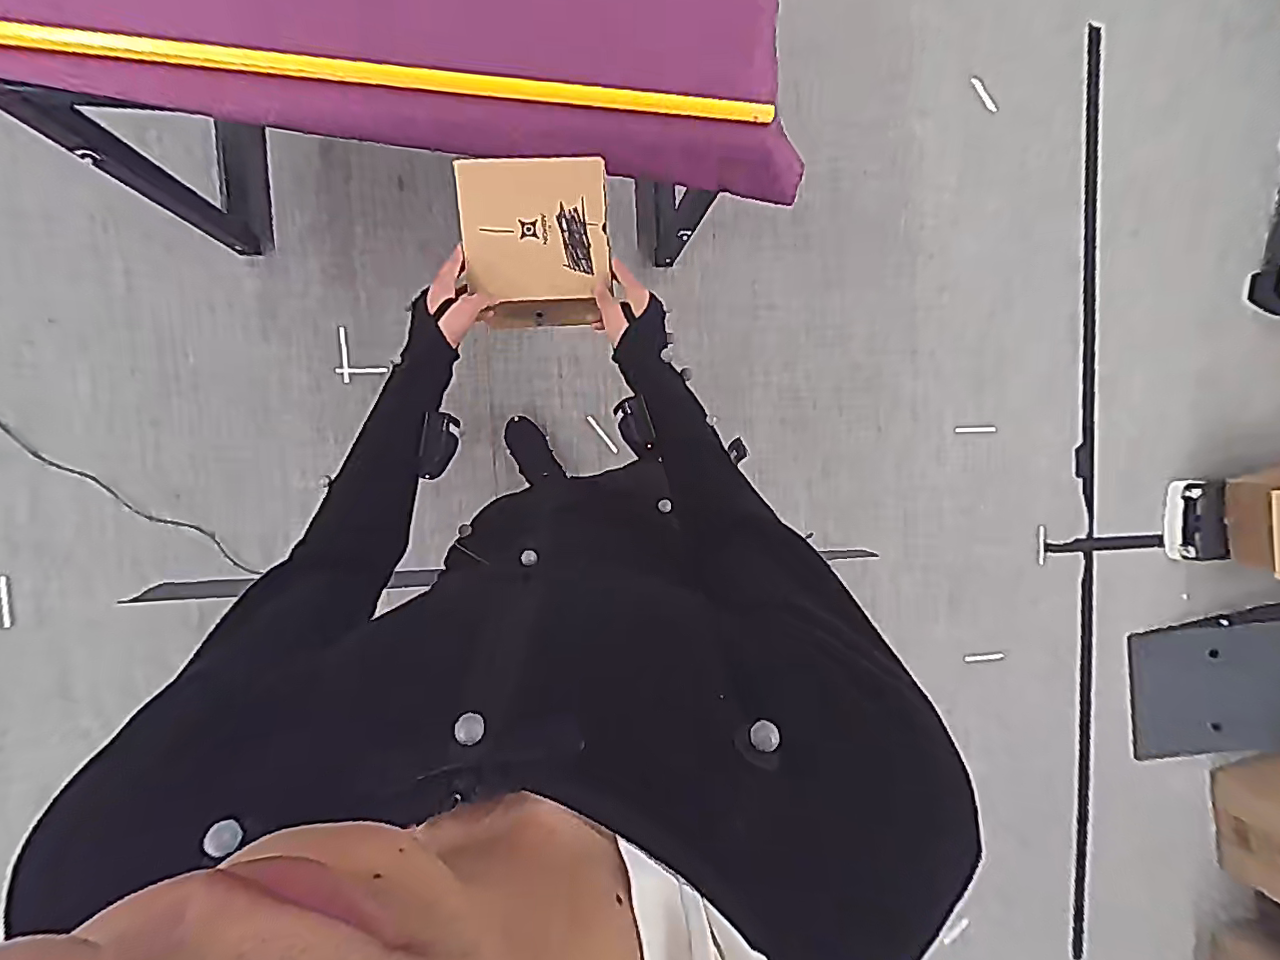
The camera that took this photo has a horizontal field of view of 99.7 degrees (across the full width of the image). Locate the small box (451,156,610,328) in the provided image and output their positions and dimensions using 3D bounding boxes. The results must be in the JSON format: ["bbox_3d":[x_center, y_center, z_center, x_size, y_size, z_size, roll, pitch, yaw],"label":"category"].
[{"bbox_3d":[-0.136,-0.300,0.712,0.179,0.176,0.168,-4,95,-6],"label":"small box"}]
